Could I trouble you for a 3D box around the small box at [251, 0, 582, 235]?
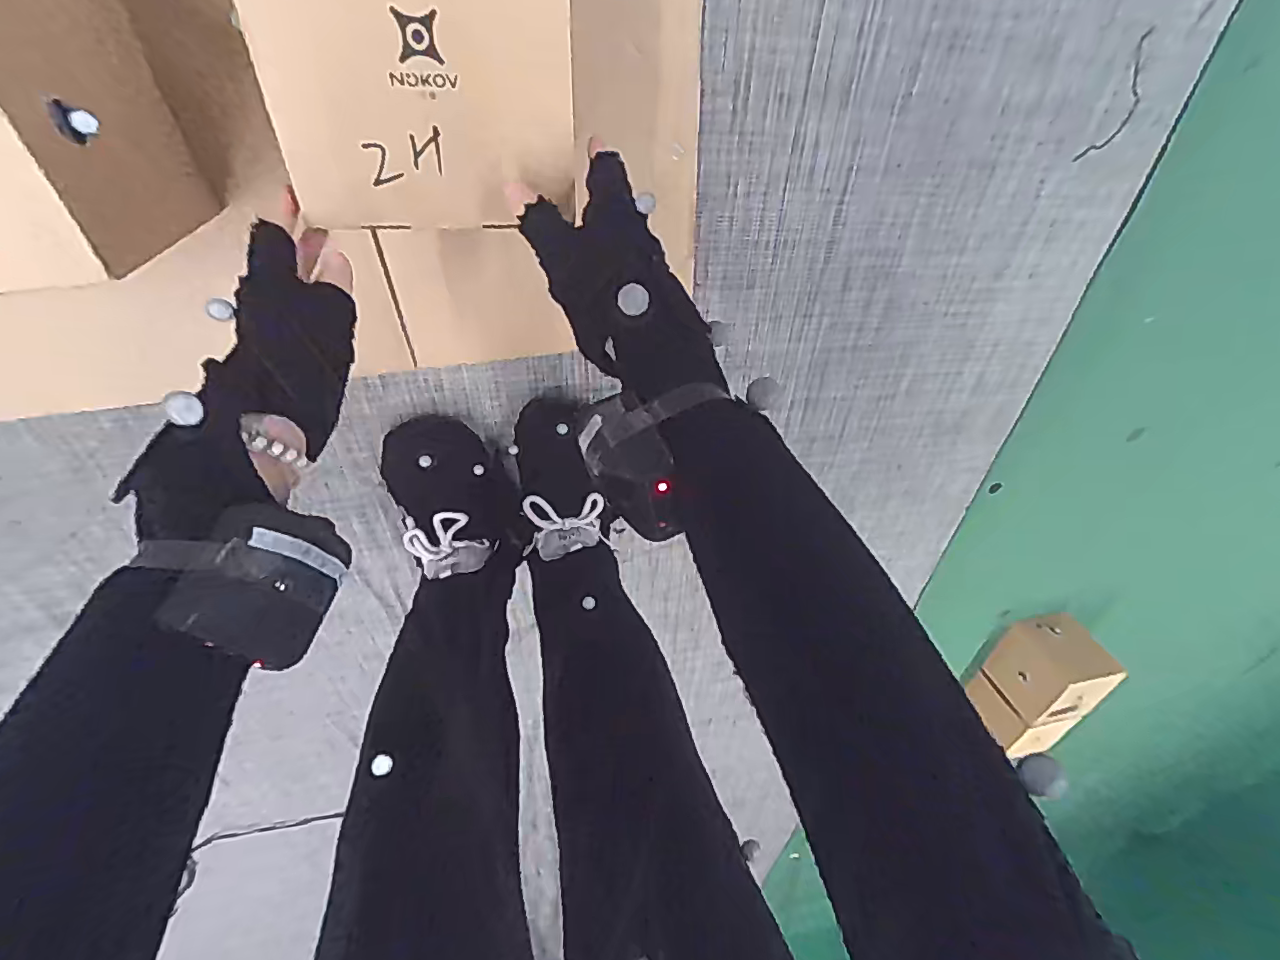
[{"bbox_3d":[-0.131,-0.275,0.355,0.168,0.176,0.179,-5,130,-11],"label":"small box"}]
